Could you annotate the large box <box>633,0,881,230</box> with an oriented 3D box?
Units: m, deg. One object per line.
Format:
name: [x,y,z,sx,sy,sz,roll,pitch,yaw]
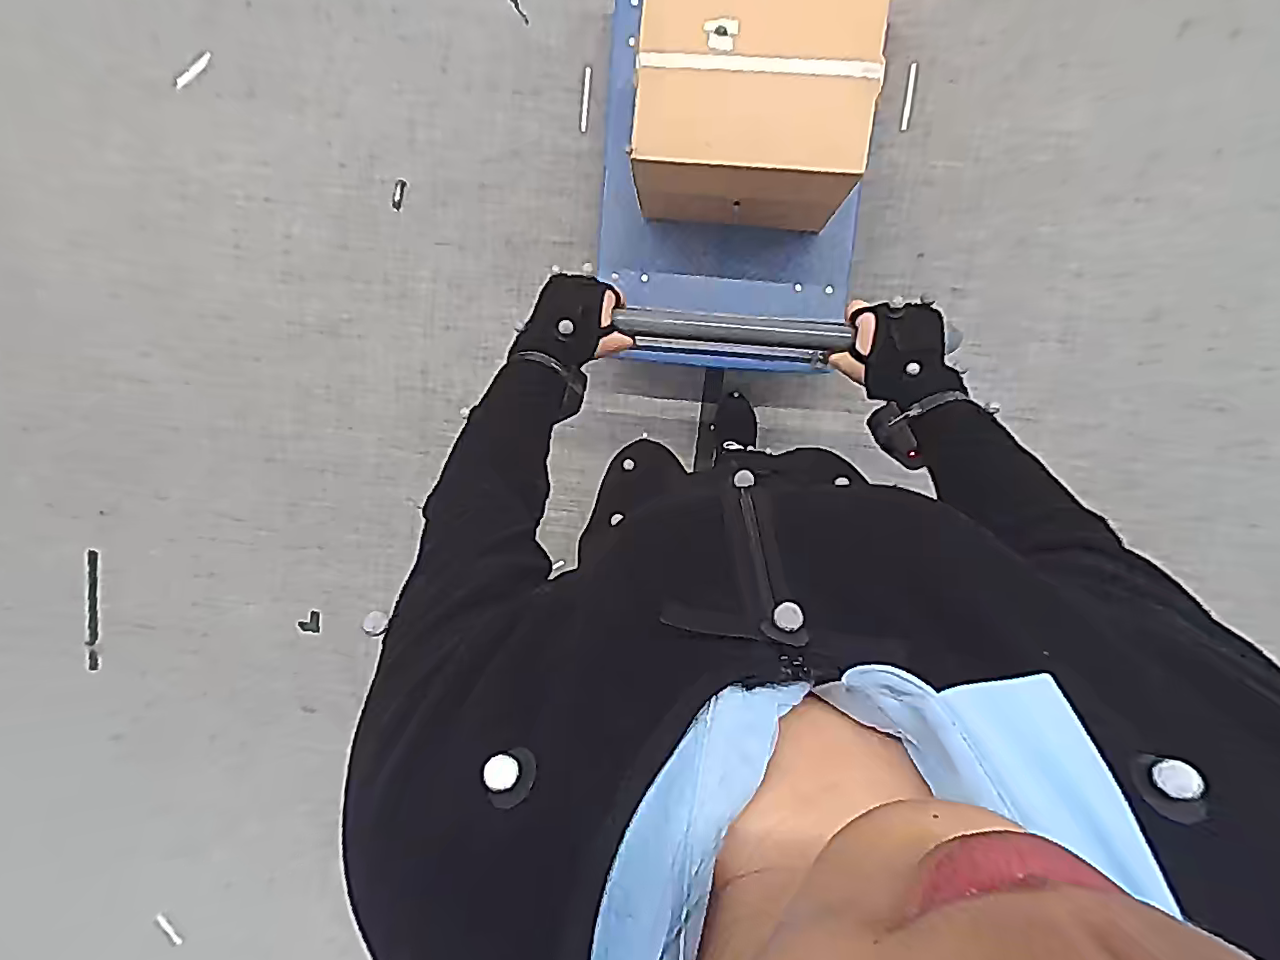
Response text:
large box: [0.211,-0.711,1.074,0.408,0.320,0.320,6,97,5]
